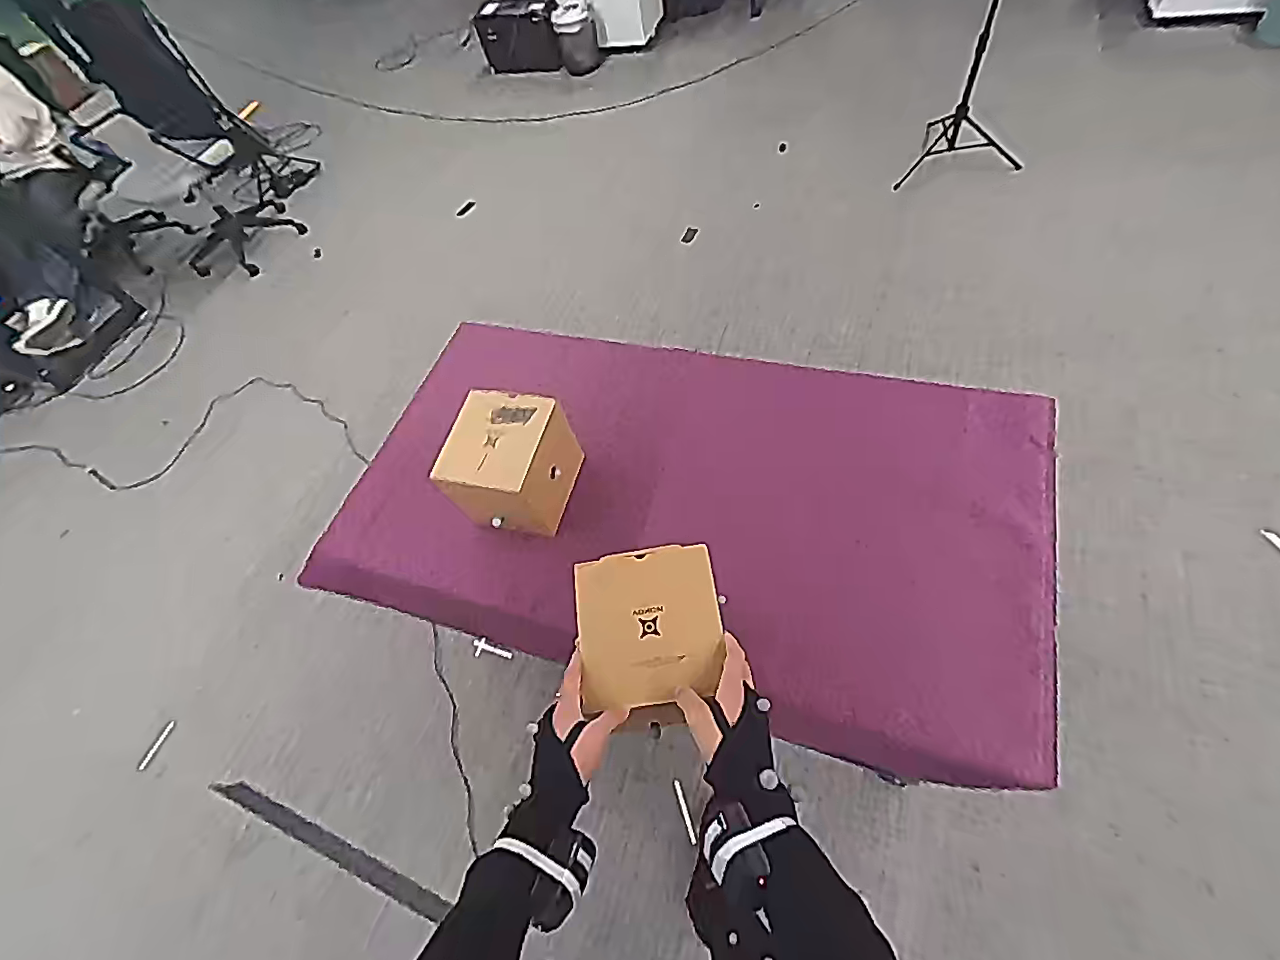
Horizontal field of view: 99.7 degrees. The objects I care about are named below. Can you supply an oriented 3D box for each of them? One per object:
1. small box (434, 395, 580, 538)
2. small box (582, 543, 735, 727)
[{"bbox_3d":[-0.216,-0.022,0.939,0.168,0.176,0.179,9,63,17],"label":"small box"},{"bbox_3d":[0.023,0.203,0.693,0.168,0.176,0.179,-8,57,3],"label":"small box"}]
